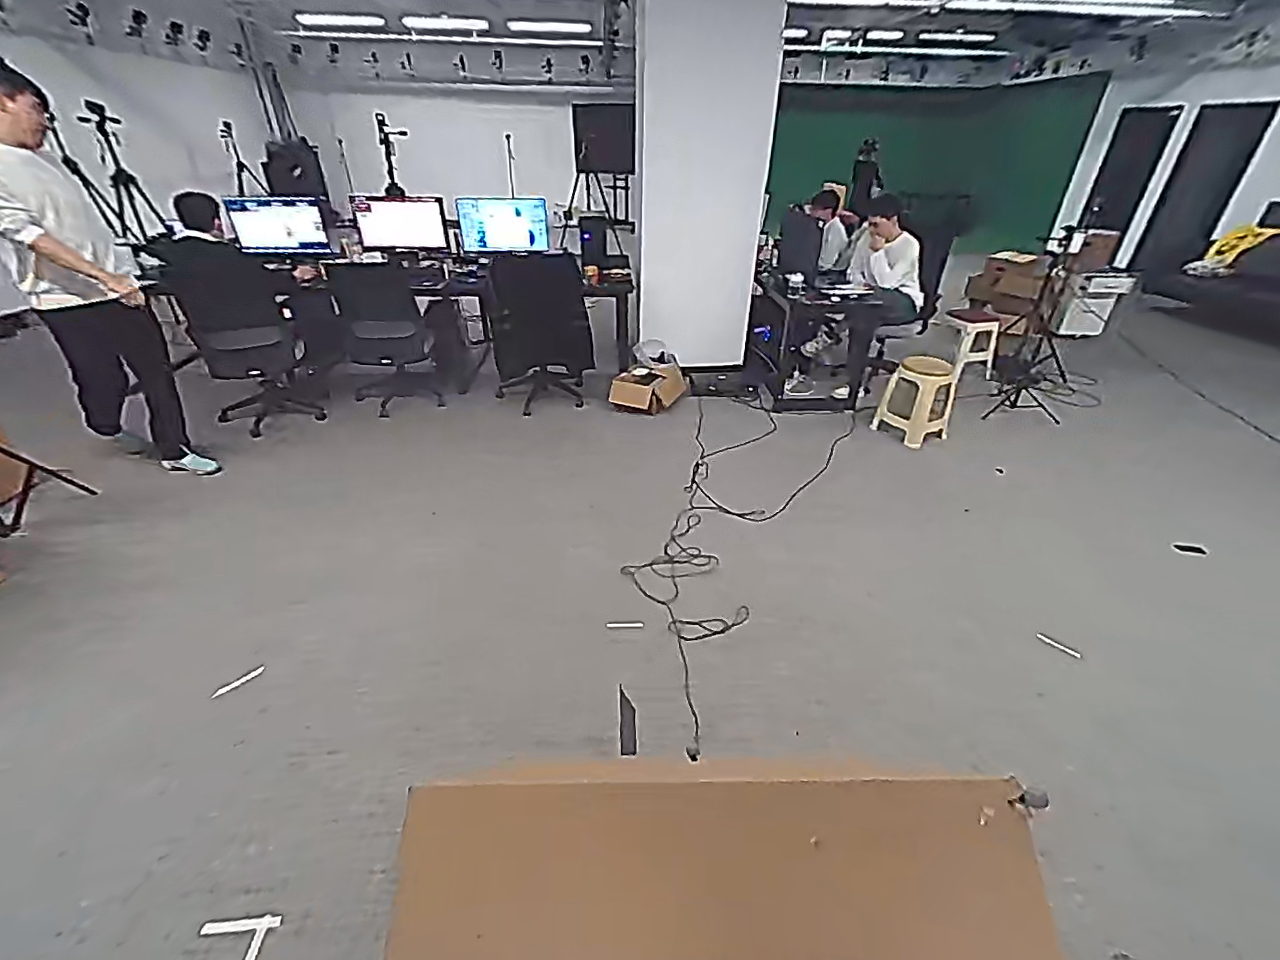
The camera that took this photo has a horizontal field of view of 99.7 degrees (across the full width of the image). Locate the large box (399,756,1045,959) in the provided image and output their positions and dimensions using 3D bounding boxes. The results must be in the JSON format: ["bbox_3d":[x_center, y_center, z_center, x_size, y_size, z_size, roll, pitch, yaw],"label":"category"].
[{"bbox_3d":[0.050,0.411,0.444,0.408,0.320,0.320,-1,67,0],"label":"large box"}]
